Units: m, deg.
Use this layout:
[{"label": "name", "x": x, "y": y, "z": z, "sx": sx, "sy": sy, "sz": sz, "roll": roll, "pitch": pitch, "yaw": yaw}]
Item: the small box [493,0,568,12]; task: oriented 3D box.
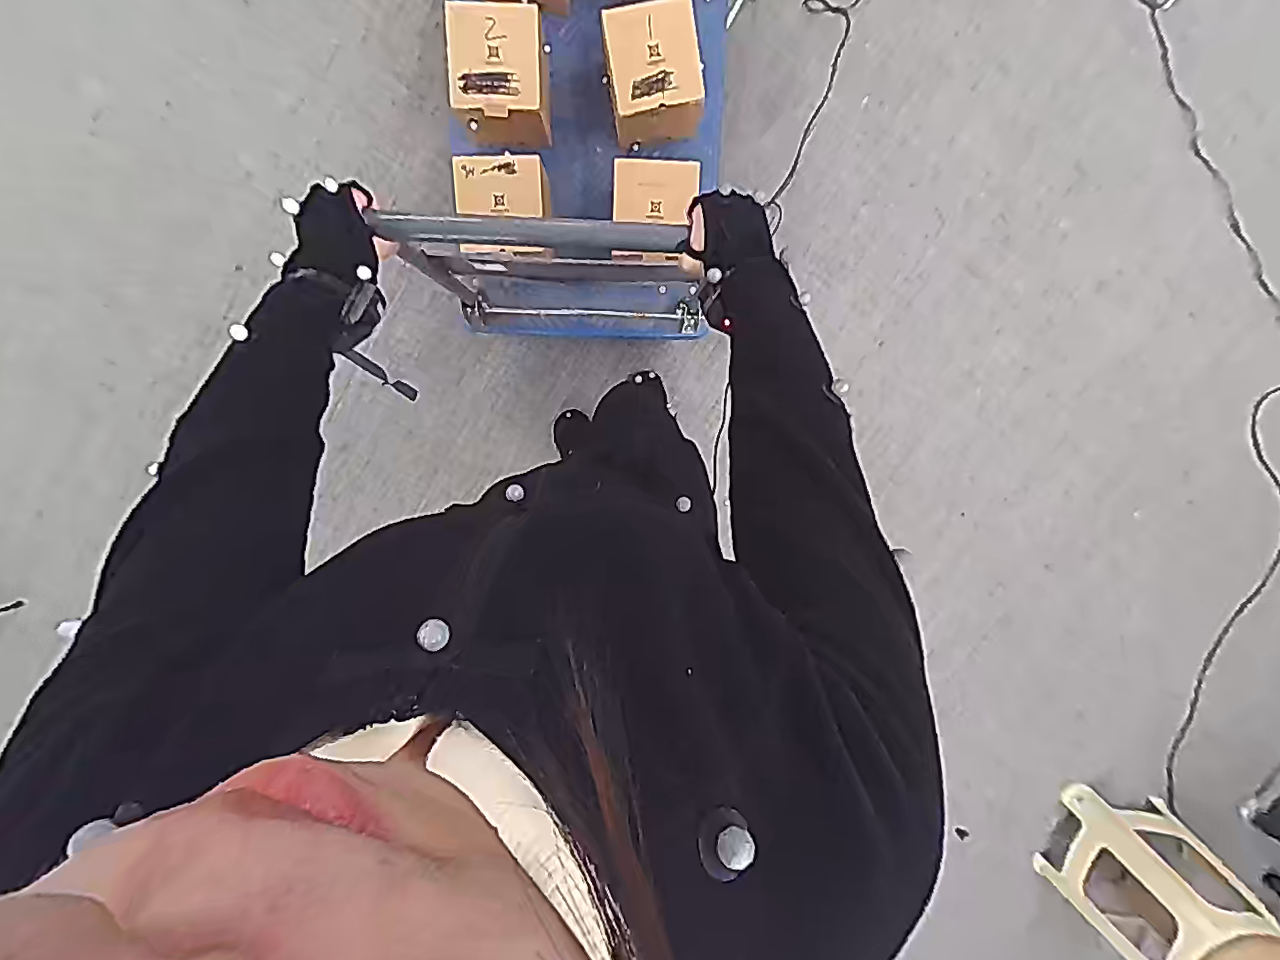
[{"label": "small box", "x": -0.220, "y": -1.031, "z": 1.006, "sx": 0.168, "sy": 0.176, "sz": 0.179, "roll": 3, "pitch": 103, "yaw": -3}]

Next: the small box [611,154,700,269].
[{"label": "small box", "x": 0.026, "y": -0.544, "z": 1.119, "sx": 0.168, "sy": 0.176, "sz": 0.179, "roll": 2, "pitch": 101, "yaw": -3}]

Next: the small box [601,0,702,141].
[{"label": "small box", "x": 0.021, "y": -0.796, "z": 1.065, "sx": 0.168, "sy": 0.176, "sz": 0.179, "roll": -10, "pitch": 101, "yaw": 0}]

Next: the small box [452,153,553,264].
[{"label": "small box", "x": -0.272, "y": -0.546, "z": 1.107, "sx": 0.168, "sy": 0.176, "sz": 0.179, "roll": -2, "pitch": 102, "yaw": -2}]
